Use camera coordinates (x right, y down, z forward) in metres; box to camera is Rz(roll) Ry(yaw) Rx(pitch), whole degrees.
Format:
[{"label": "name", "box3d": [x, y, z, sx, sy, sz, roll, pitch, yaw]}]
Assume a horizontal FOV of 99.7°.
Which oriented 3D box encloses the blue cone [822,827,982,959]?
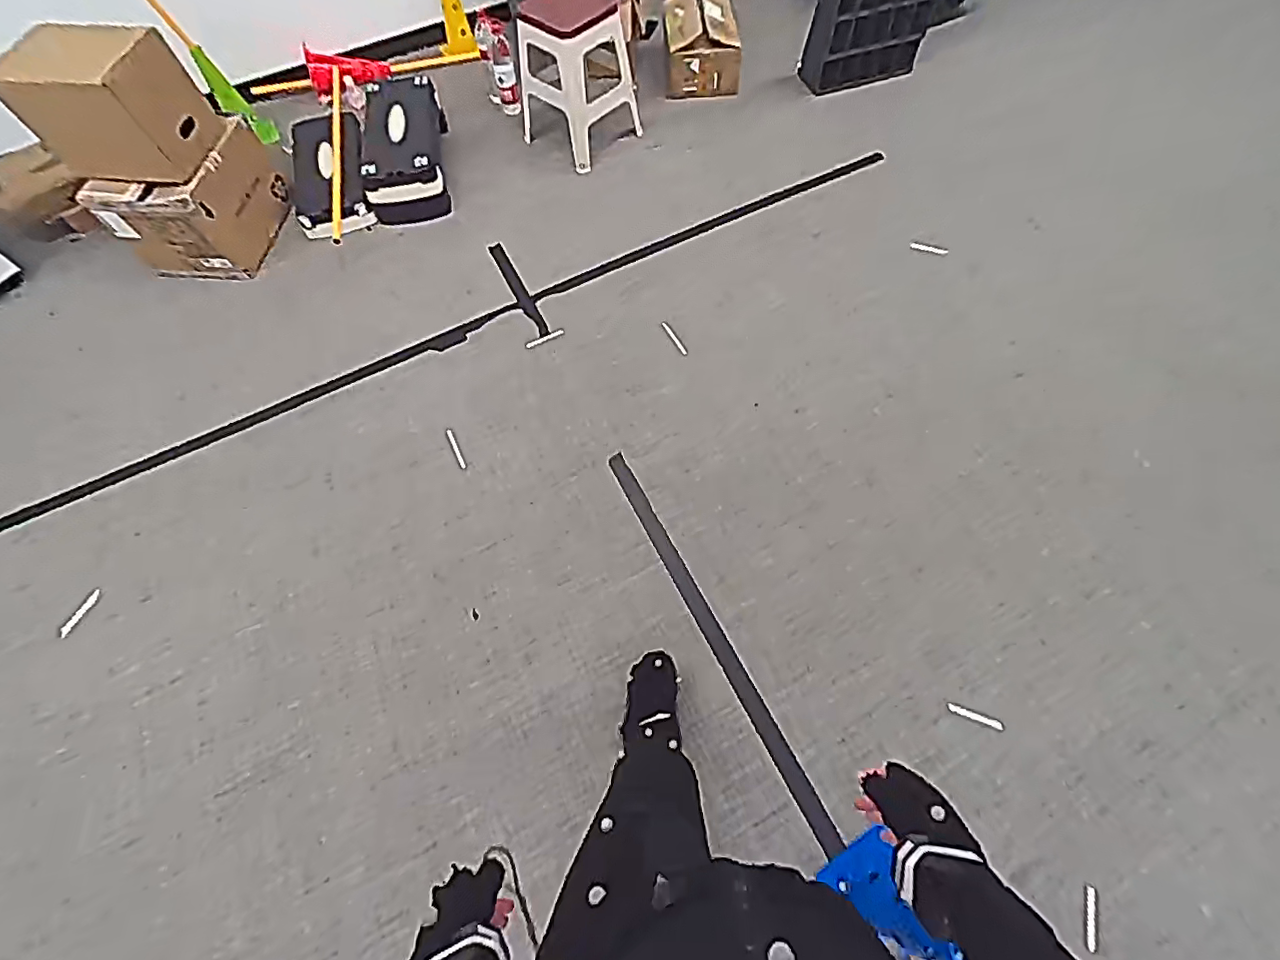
[{"label": "blue cone", "box3d": [0.493, 0.783, 0.976, 0.192, 0.380, 0.193, -29, 66, -13]}]
